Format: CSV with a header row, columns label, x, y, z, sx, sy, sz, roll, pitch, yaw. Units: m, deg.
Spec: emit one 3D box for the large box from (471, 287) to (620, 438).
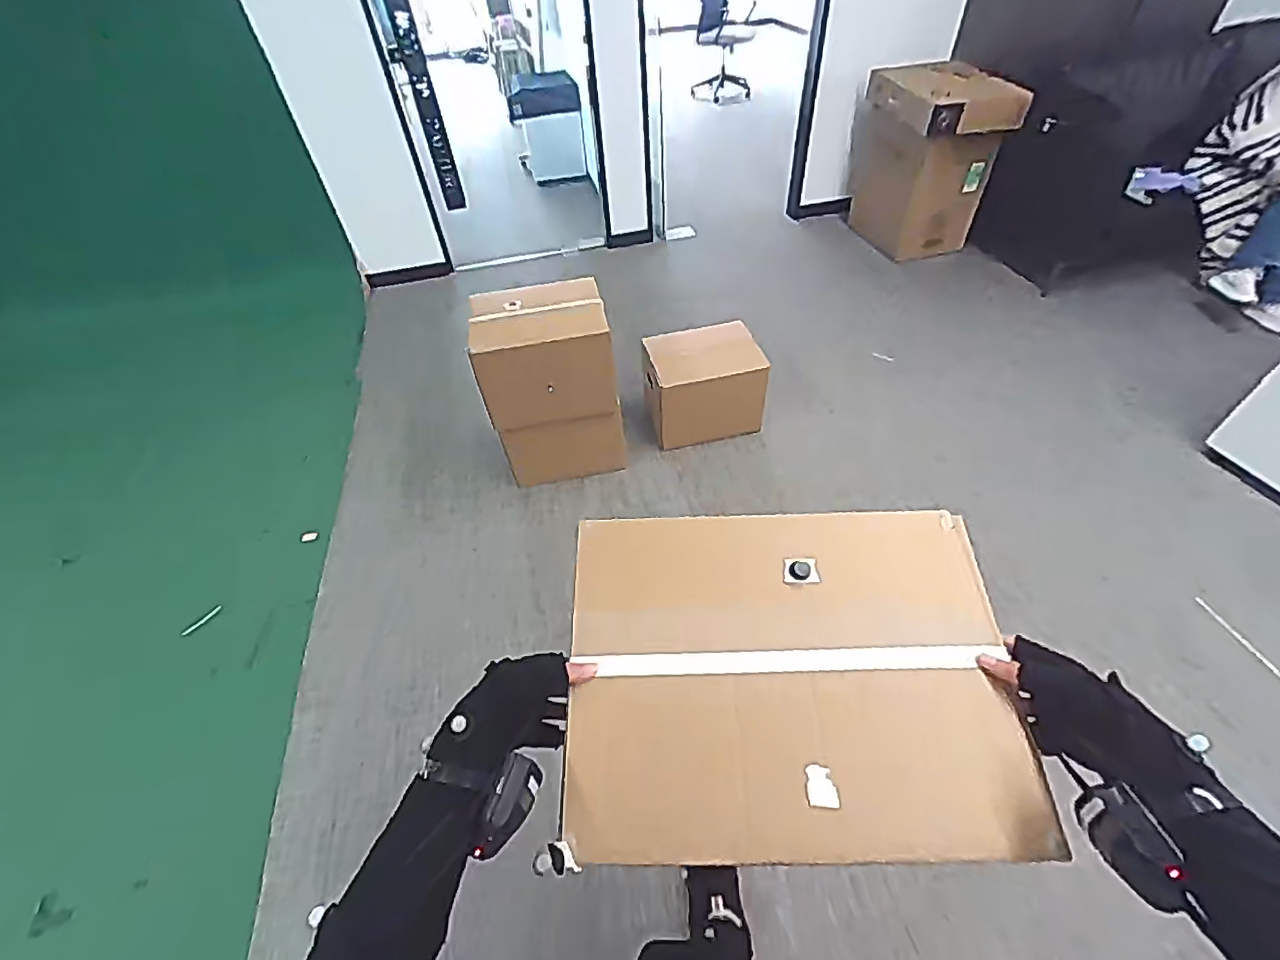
label,x,y,z,sx,sy,sz,roll,pitch,yaw
large box,-0.296,-0.374,1.734,0.408,0.320,0.320,-11,49,-5
